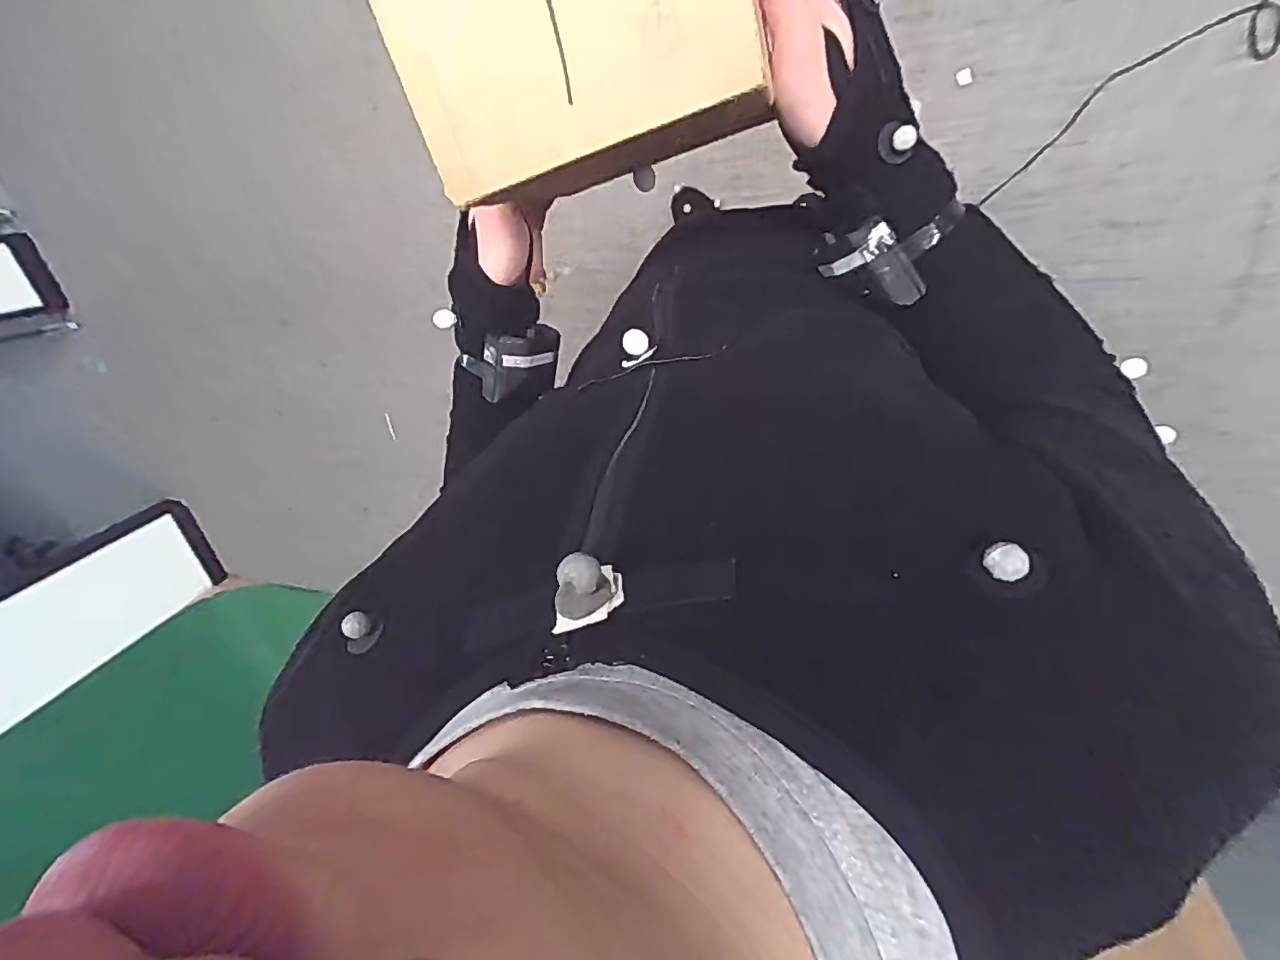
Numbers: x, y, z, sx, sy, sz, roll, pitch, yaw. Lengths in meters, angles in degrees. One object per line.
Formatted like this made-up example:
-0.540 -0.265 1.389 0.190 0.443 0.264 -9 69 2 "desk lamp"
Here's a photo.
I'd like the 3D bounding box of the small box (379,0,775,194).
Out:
-0.025 -0.270 0.291 0.168 0.176 0.179 -8 115 21 "small box"
